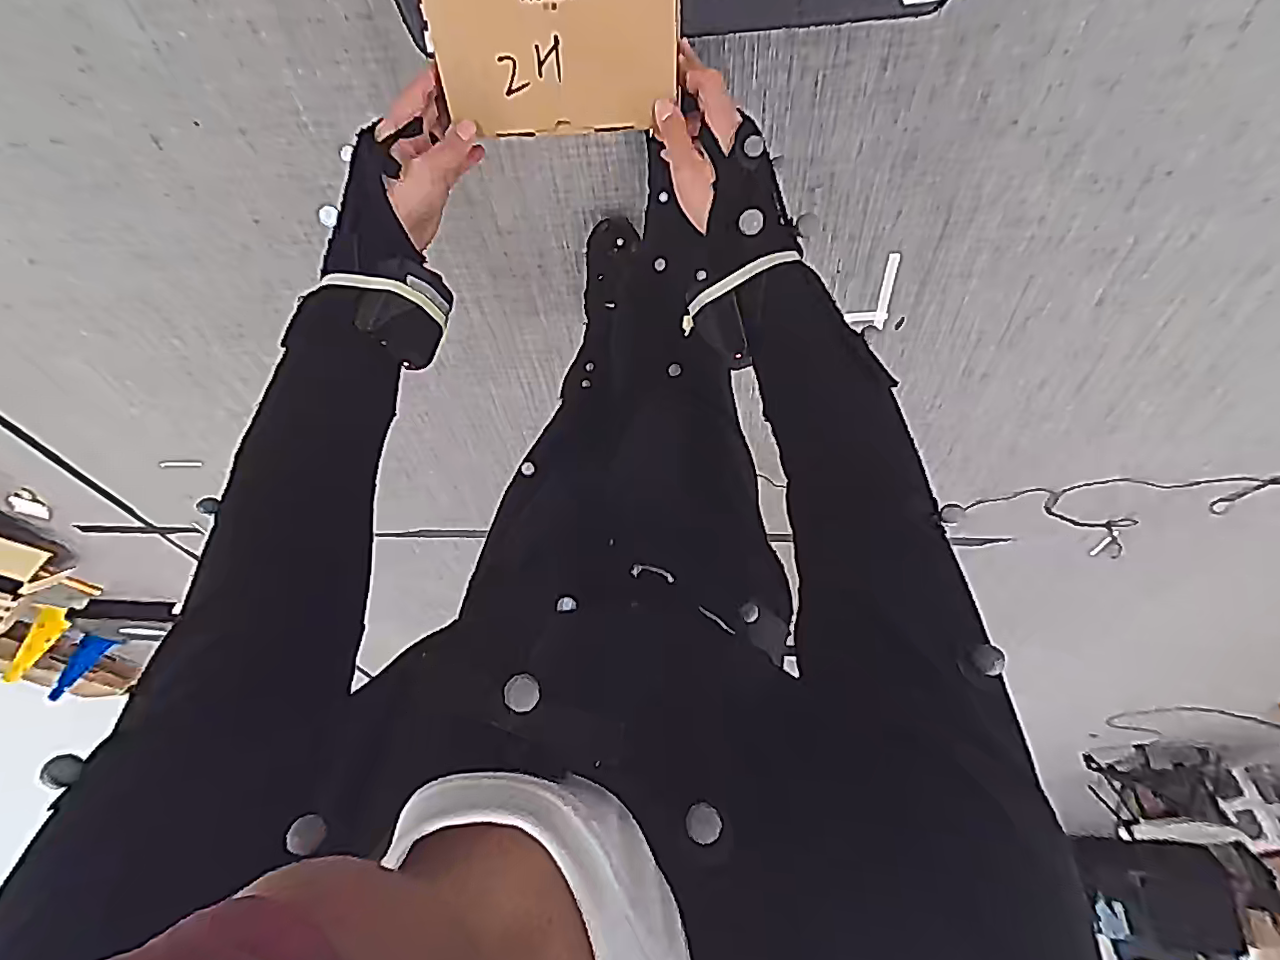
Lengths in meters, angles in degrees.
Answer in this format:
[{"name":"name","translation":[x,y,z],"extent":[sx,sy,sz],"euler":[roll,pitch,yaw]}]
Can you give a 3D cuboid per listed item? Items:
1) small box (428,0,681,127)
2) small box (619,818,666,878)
[{"name":"small box","translation":[-0.054,-0.379,0.399],"extent":[0.168,0.176,0.179],"euler":[1,132,5]},{"name":"small box","translation":[0.013,1.406,2.061],"extent":[0.168,0.176,0.179],"euler":[0,141,4]}]
